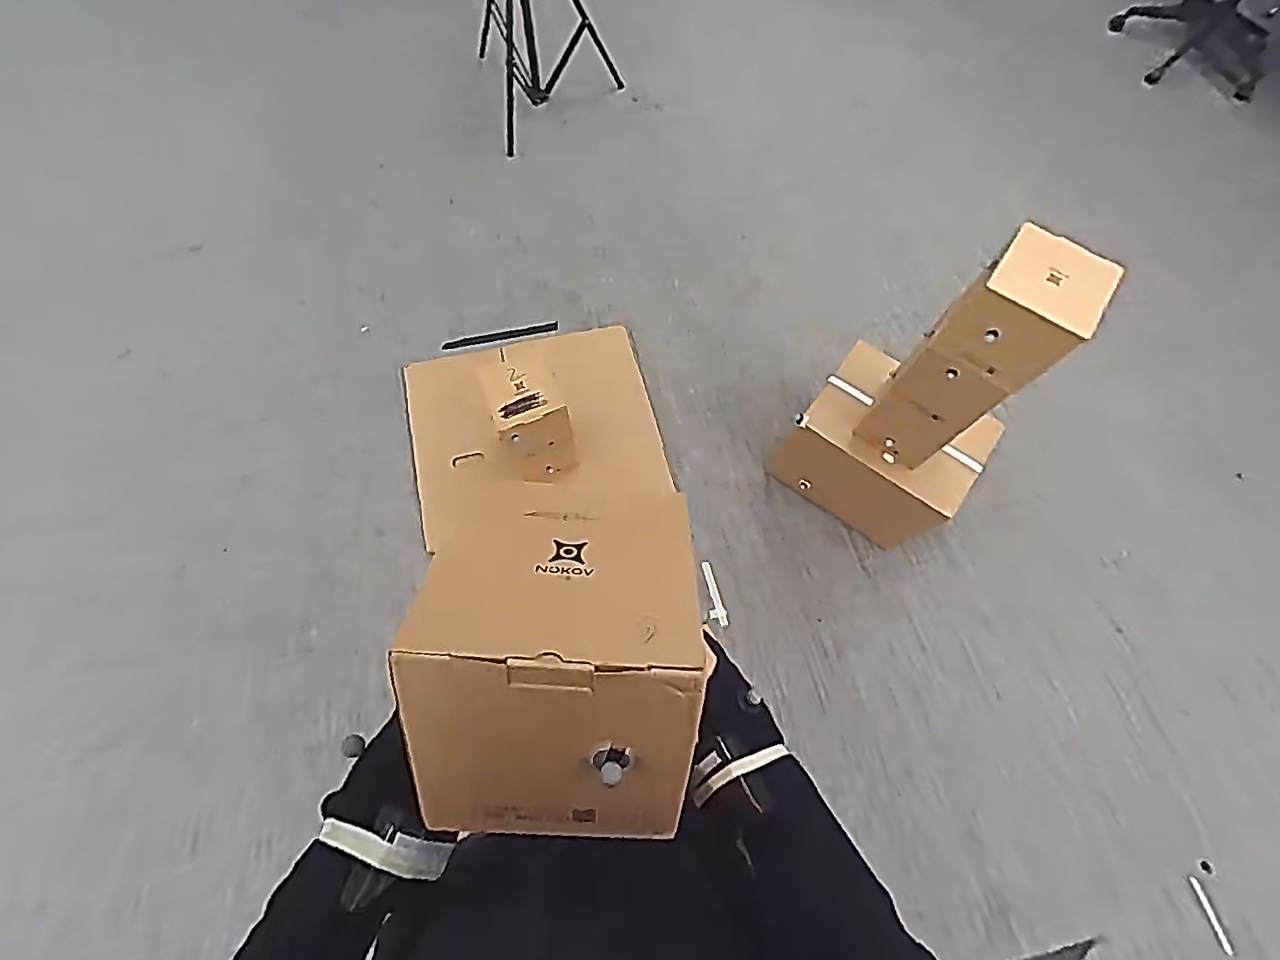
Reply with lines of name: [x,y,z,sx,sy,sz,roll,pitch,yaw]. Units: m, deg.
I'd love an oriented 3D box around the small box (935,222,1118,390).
small box: [0.637,-0.285,0.914,0.168,0.176,0.179,34,70,11]

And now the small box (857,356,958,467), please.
small box: [0.621,-0.162,1.217,0.168,0.176,0.179,34,71,11]

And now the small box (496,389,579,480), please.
small box: [-0.277,-0.113,1.482,0.168,0.176,0.179,-21,71,-8]

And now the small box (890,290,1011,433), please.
small box: [0.629,-0.227,1.066,0.168,0.176,0.179,34,70,11]

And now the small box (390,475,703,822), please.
small box: [-0.053,0.115,0.389,0.168,0.176,0.179,4,30,-3]
